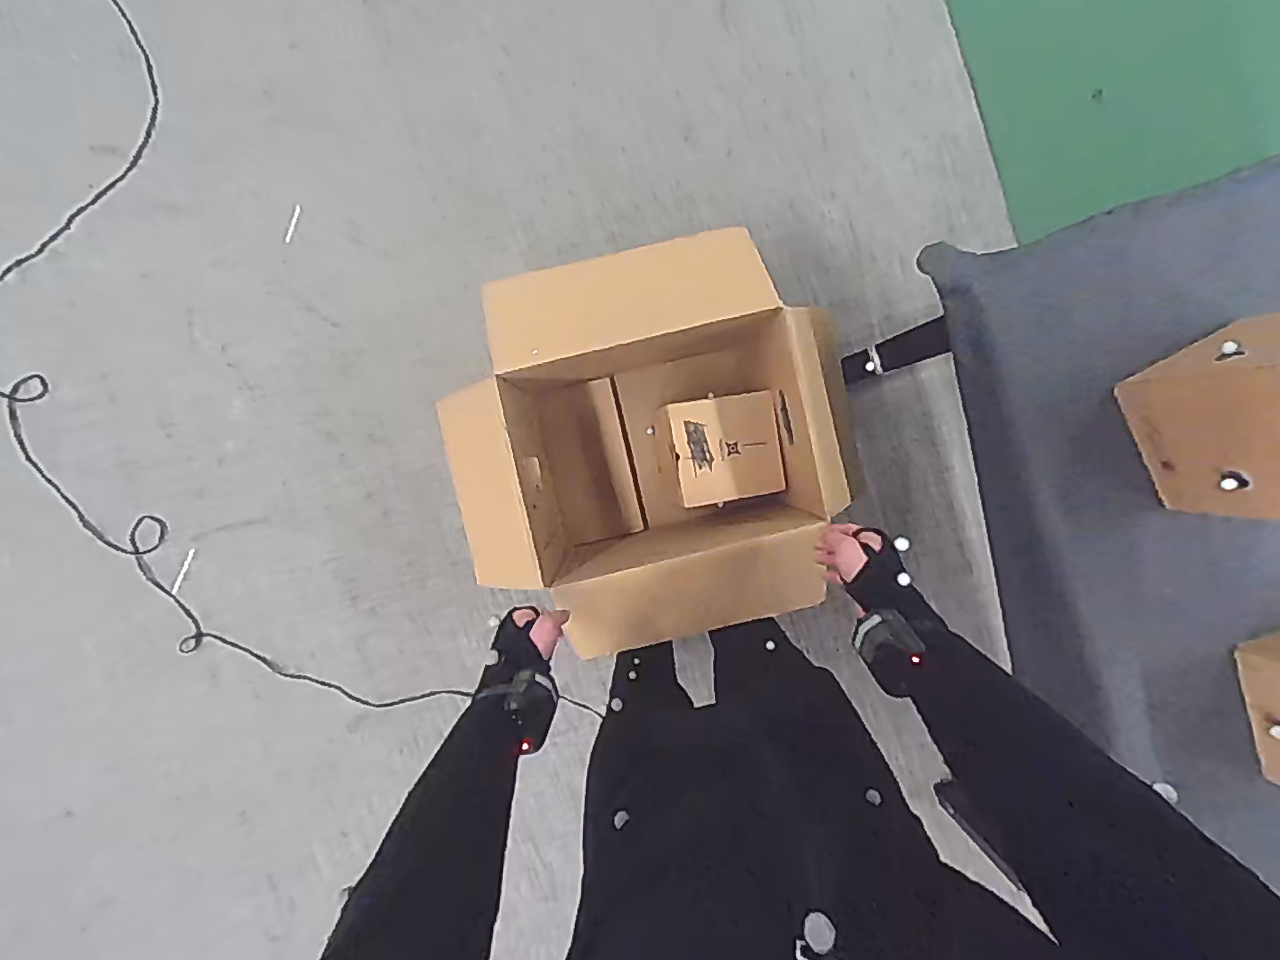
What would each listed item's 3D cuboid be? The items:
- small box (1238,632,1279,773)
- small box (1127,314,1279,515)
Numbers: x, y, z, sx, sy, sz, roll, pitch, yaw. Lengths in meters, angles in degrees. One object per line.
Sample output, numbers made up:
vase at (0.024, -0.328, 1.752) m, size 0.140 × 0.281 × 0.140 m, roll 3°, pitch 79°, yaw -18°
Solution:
small box at (0.819, 0.264, 0.577) m, size 0.168 × 0.176 × 0.179 m, roll -17°, pitch 94°, yaw -1°
small box at (0.663, -0.070, 0.558) m, size 0.179 × 0.176 × 0.168 m, roll -28°, pitch 95°, yaw -3°
